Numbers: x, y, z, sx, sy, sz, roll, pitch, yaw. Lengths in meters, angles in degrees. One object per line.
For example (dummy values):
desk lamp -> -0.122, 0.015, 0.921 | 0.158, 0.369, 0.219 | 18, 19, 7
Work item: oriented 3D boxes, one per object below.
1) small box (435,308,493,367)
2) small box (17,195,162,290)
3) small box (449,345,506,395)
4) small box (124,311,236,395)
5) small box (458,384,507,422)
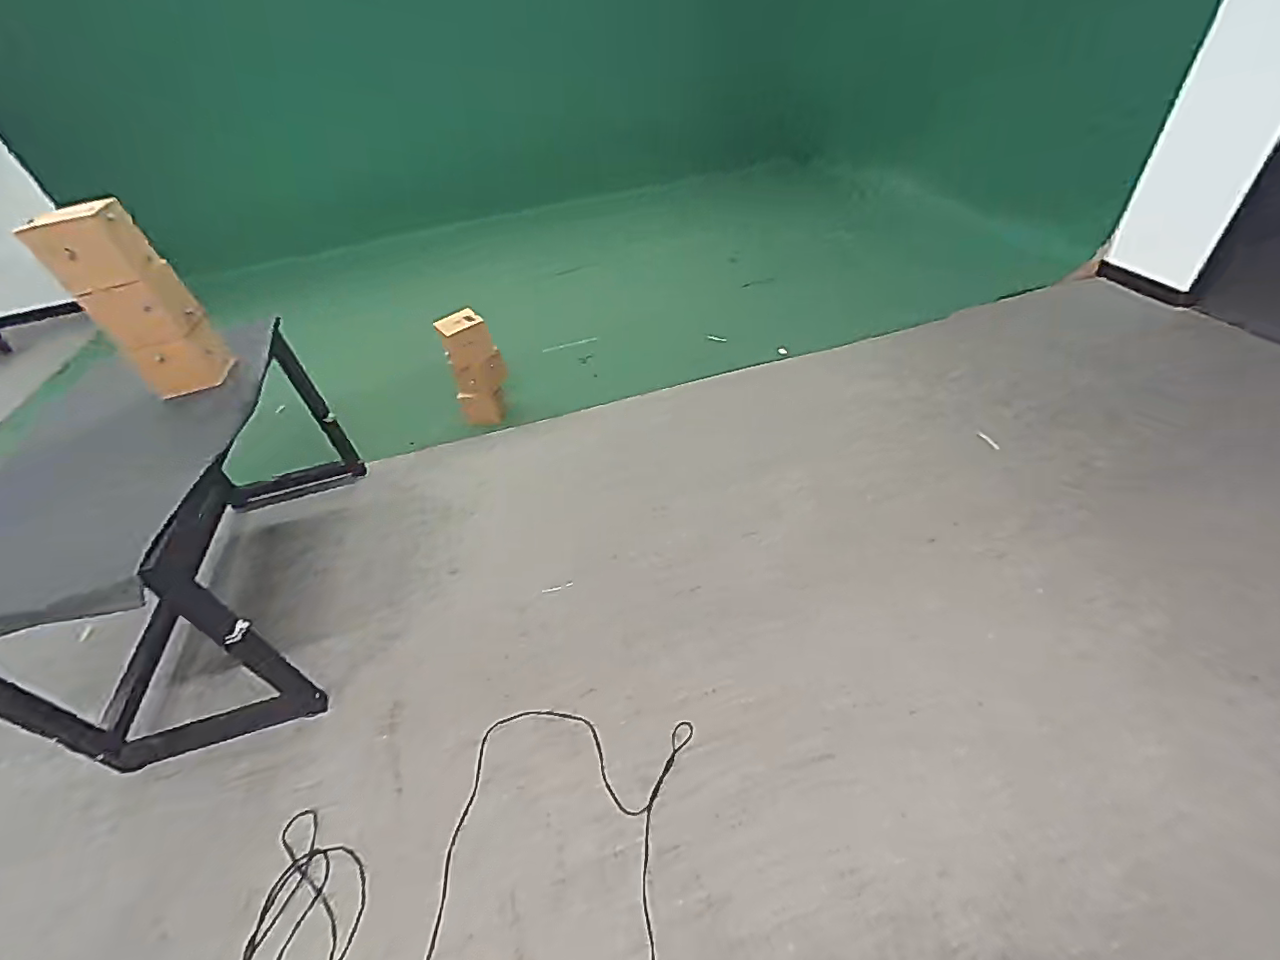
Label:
small box -> -0.767, -0.627, 2.380 | 0.179, 0.176, 0.168 | -32, 49, -22
small box -> -1.423, -0.618, 1.413 | 0.179, 0.176, 0.168 | -19, 45, -8
small box -> -0.740, -0.511, 2.494 | 0.168, 0.176, 0.179 | 13, 47, 19
small box -> -1.381, -0.385, 1.641 | 0.179, 0.176, 0.168 | -16, 44, -5
small box -> -0.754, -0.390, 2.606 | 0.168, 0.176, 0.179 | -3, 44, 5
